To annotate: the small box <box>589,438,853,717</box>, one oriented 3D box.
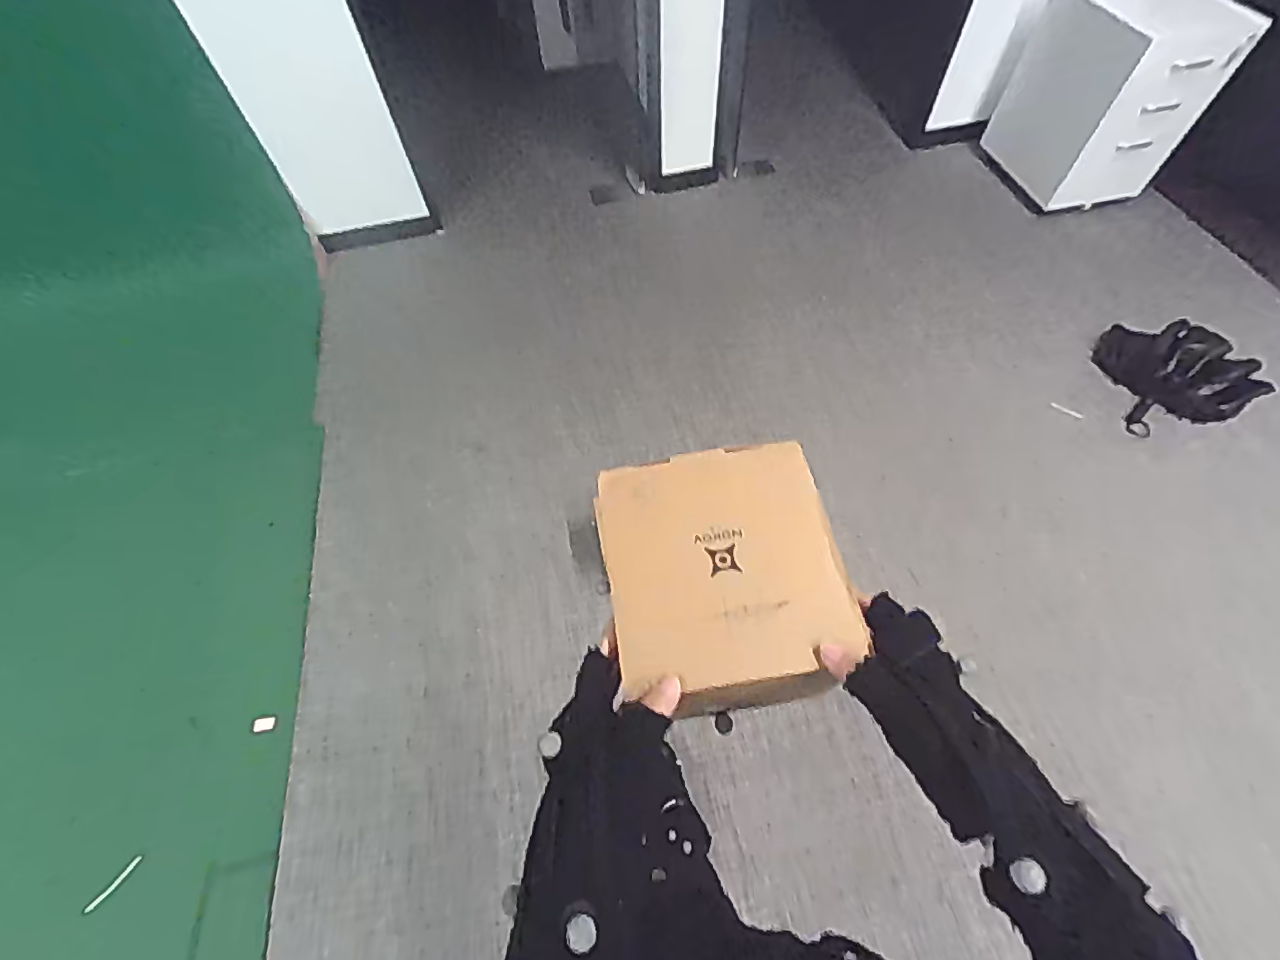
[{"bbox_3d":[0.054,0.090,0.461,0.168,0.176,0.179,-9,61,0],"label":"small box"}]
